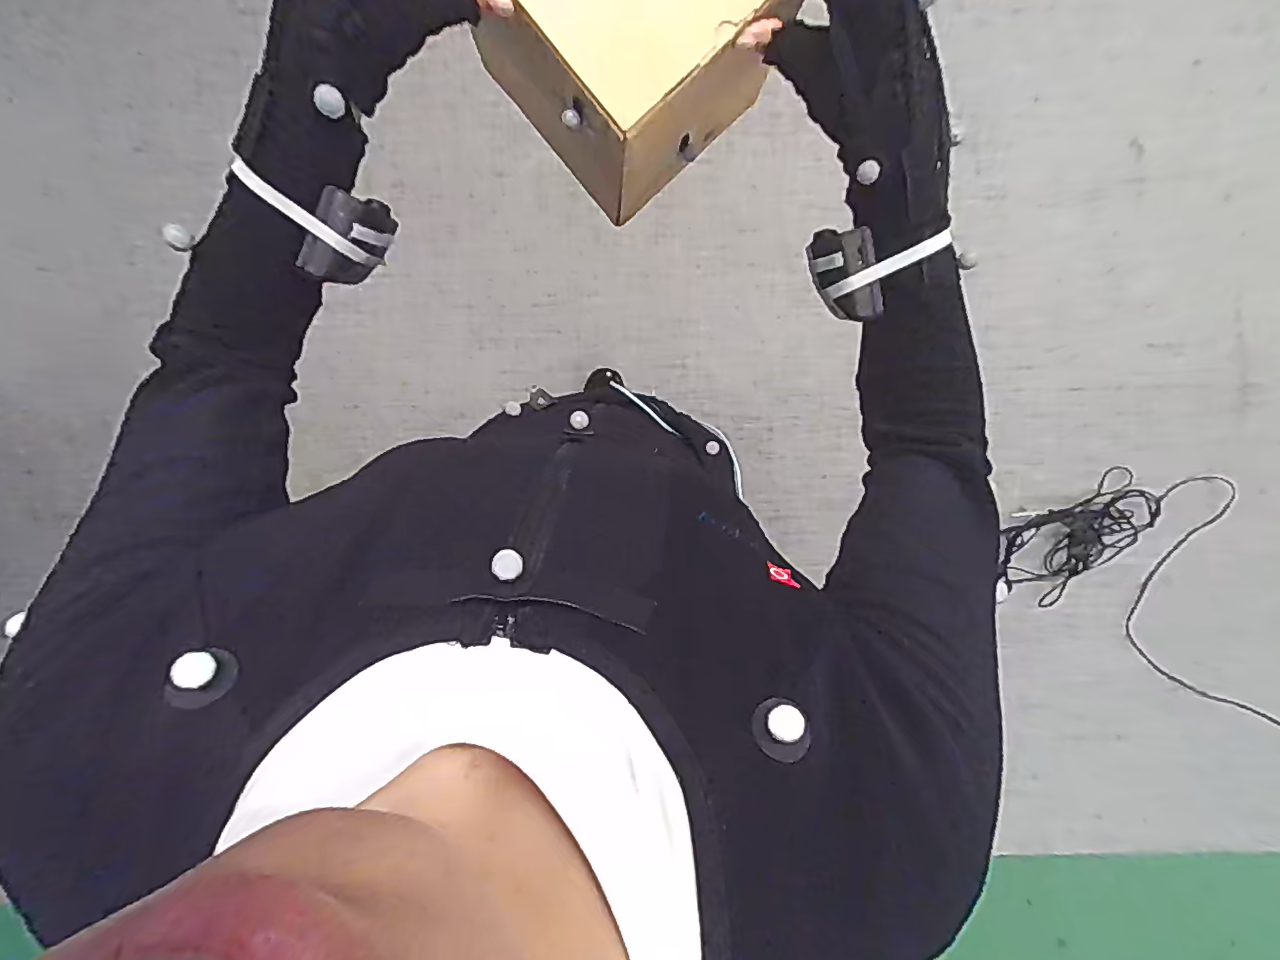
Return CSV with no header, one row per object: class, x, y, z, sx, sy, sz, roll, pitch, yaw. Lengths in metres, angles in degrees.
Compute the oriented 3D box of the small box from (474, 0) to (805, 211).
small box,-0.010,-0.338,0.392,0.168,0.176,0.179,-41,100,2
